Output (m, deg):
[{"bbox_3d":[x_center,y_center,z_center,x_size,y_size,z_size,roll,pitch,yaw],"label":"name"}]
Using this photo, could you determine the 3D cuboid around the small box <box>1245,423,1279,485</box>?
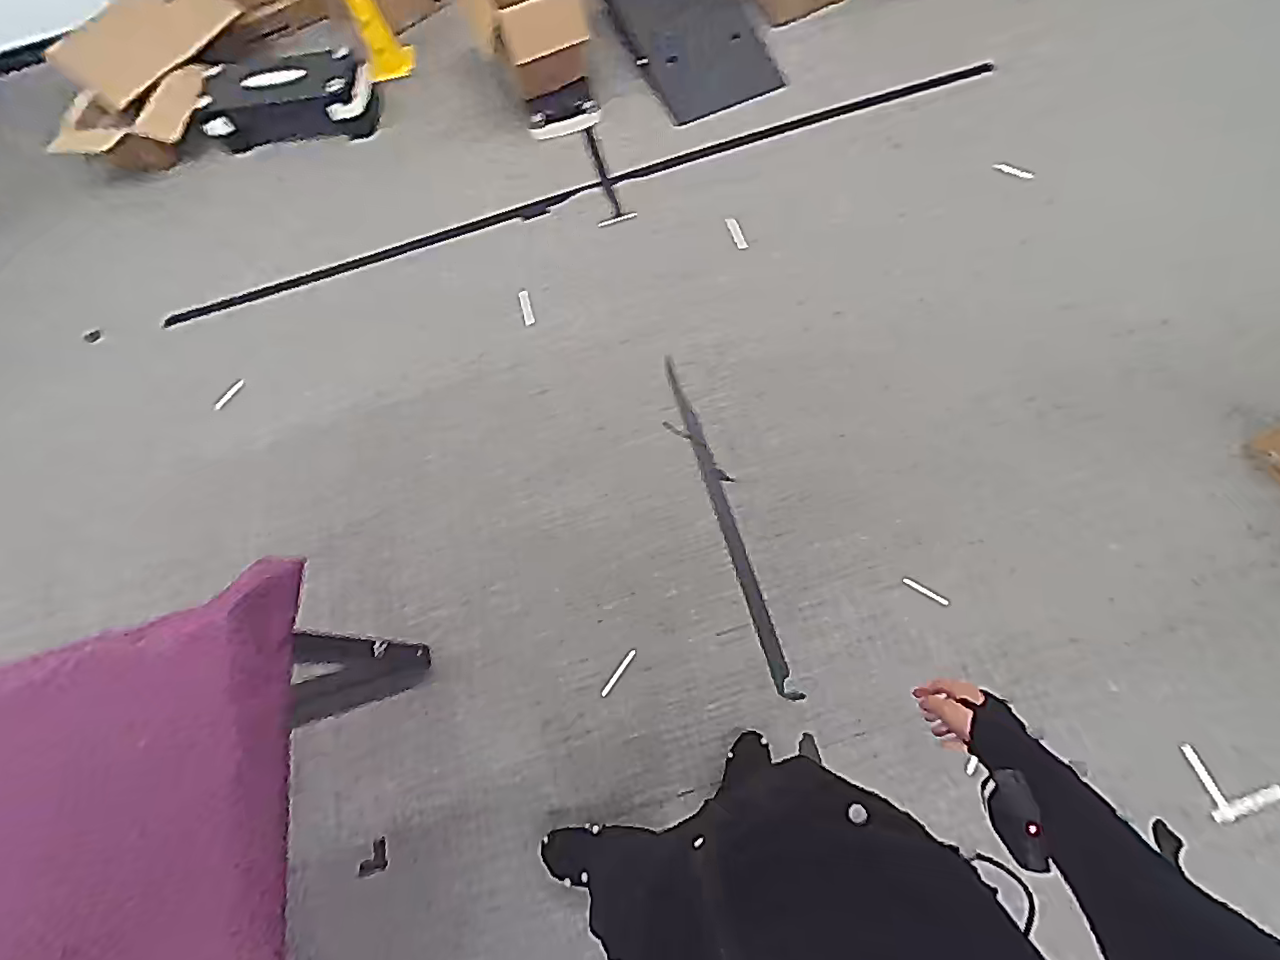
[{"bbox_3d":[1.795,-0.101,1.423,0.179,0.176,0.168,-21,68,-2],"label":"small box"}]
